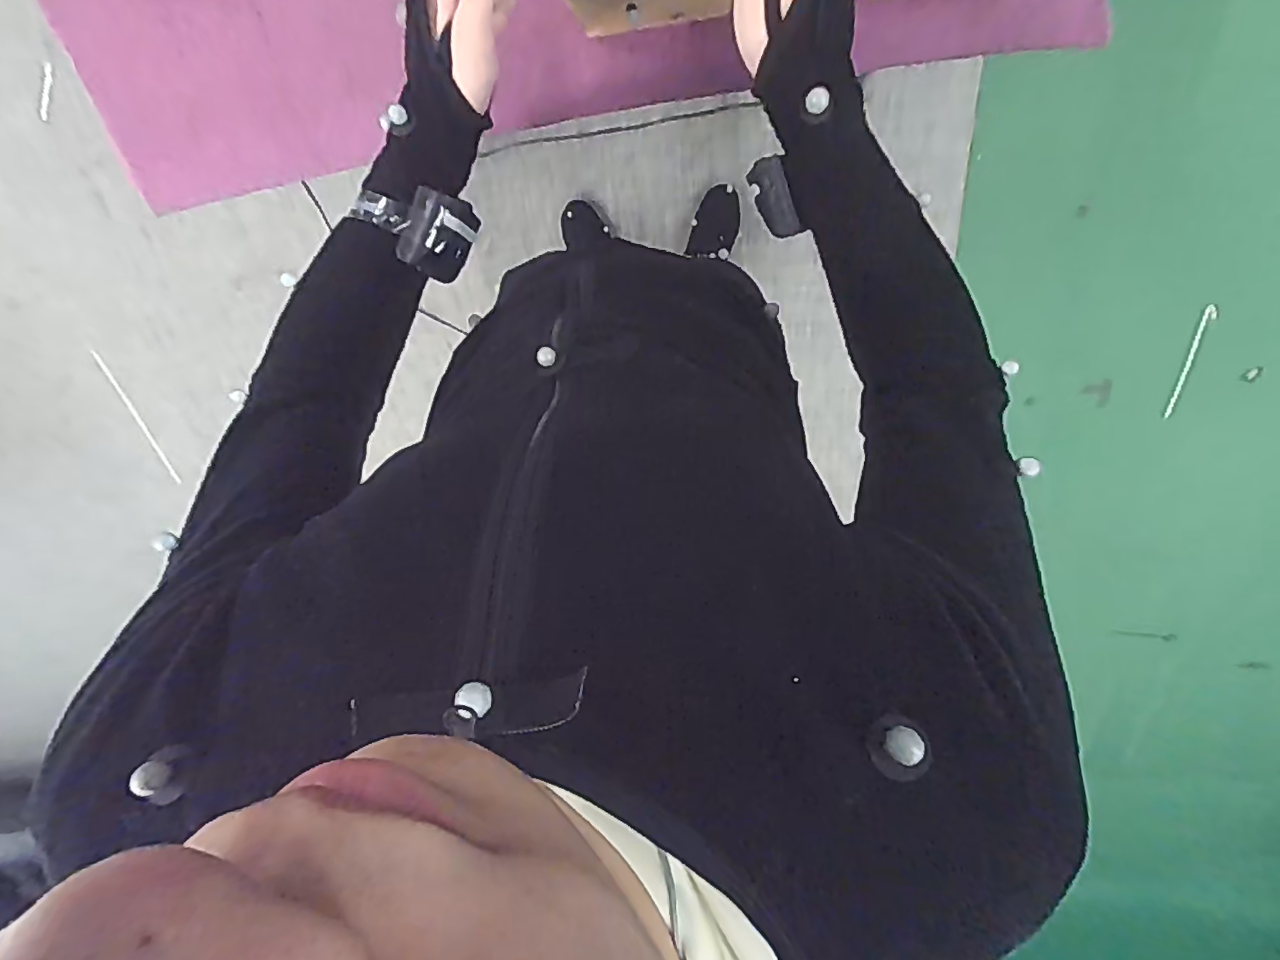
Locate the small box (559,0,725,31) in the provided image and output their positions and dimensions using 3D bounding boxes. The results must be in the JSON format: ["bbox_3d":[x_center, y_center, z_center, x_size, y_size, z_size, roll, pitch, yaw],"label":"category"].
[{"bbox_3d":[0.002,-0.561,0.518,0.168,0.176,0.179,-3,118,6],"label":"small box"}]
